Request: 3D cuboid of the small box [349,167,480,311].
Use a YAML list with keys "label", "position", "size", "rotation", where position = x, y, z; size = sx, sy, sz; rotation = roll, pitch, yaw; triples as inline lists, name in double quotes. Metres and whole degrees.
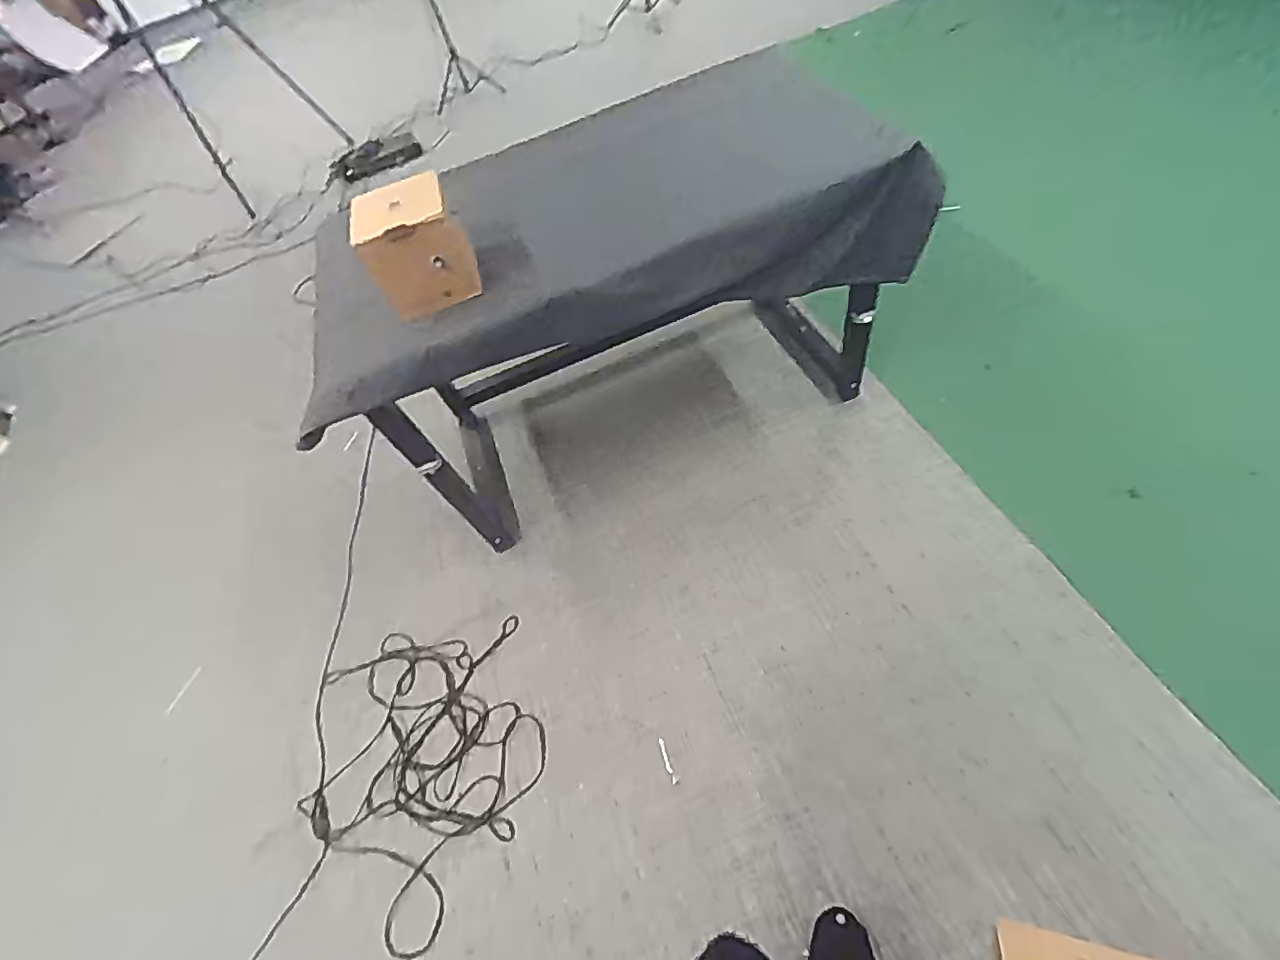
- label: "small box"
  position: [-0.412, -0.438, 1.005]
  size: [0.168, 0.176, 0.179]
  rotation: [-20, 53, -2]
